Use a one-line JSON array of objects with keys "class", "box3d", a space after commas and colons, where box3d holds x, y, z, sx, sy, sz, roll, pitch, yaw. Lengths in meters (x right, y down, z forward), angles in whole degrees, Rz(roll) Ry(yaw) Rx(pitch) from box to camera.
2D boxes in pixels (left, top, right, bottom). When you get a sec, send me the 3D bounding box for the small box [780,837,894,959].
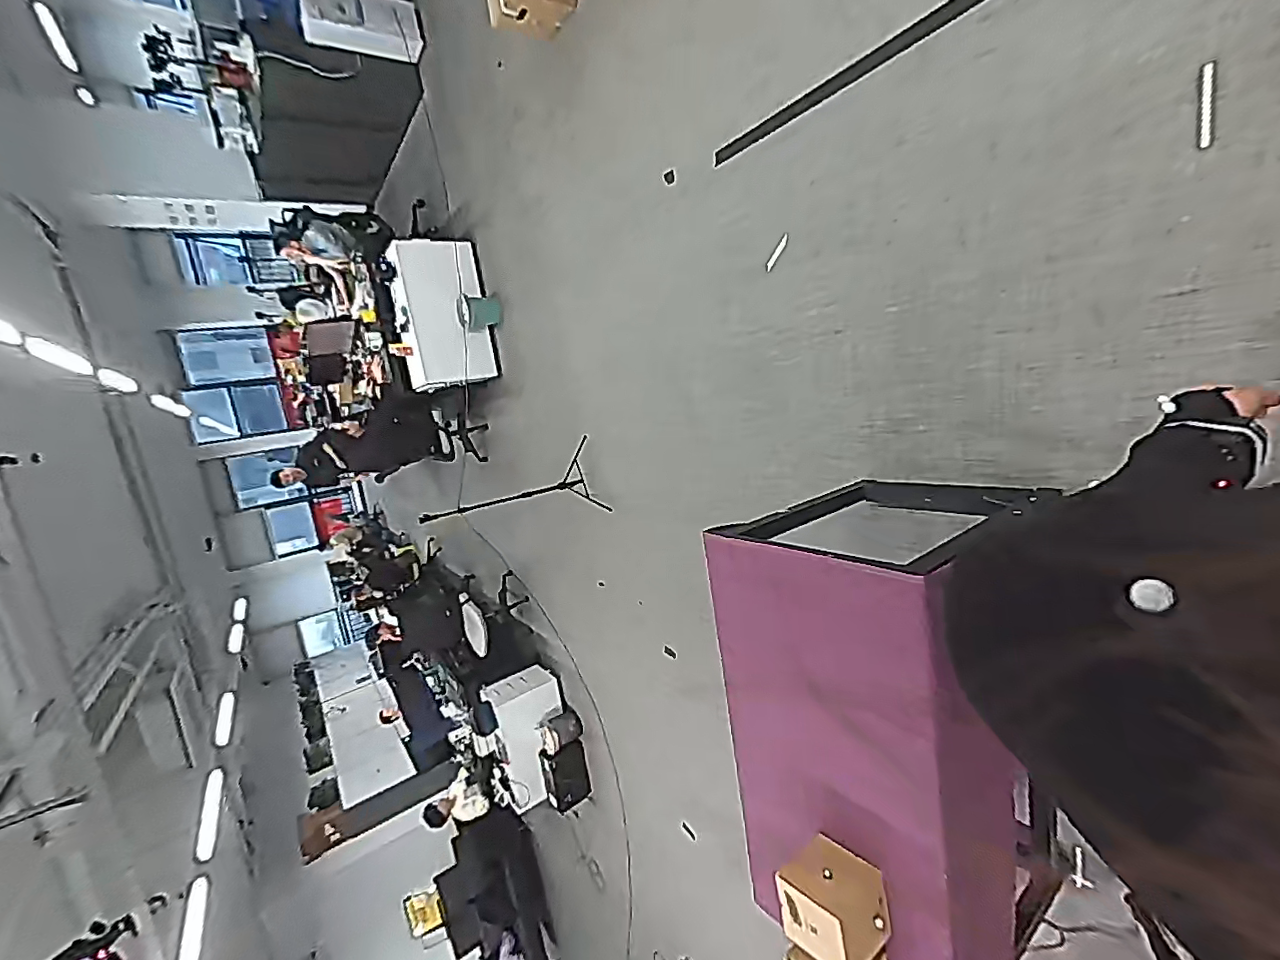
[{"class": "small box", "box3d": [0.459, 0.983, 1.264, 0.179, 0.176, 0.168, -2, 102, 56]}]
